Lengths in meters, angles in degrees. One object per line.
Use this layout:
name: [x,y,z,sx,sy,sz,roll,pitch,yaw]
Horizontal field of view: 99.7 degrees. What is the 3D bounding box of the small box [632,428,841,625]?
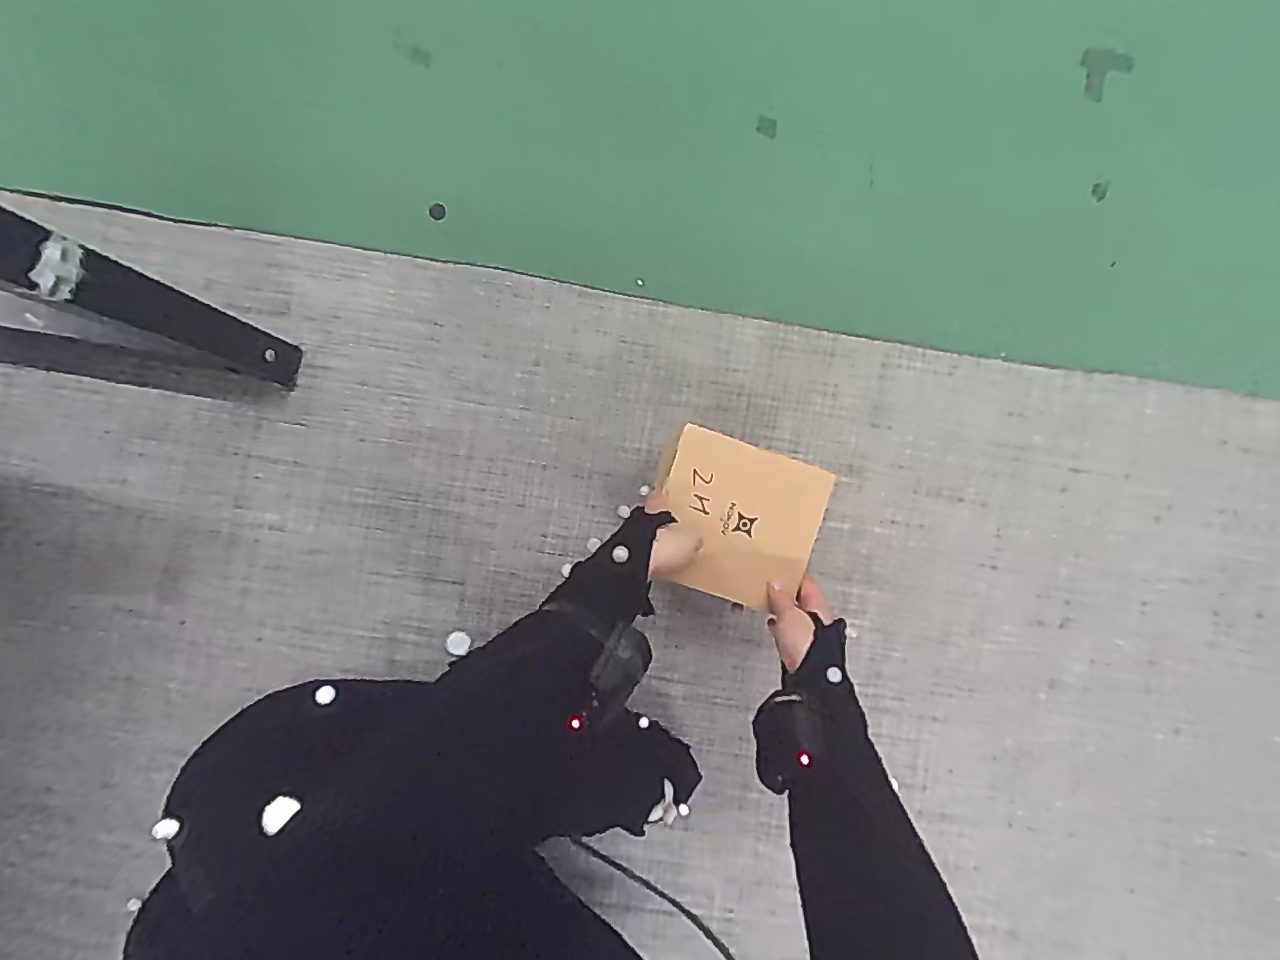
small box: [0.101,0.049,0.645,0.179,0.176,0.168,20,88,-4]
